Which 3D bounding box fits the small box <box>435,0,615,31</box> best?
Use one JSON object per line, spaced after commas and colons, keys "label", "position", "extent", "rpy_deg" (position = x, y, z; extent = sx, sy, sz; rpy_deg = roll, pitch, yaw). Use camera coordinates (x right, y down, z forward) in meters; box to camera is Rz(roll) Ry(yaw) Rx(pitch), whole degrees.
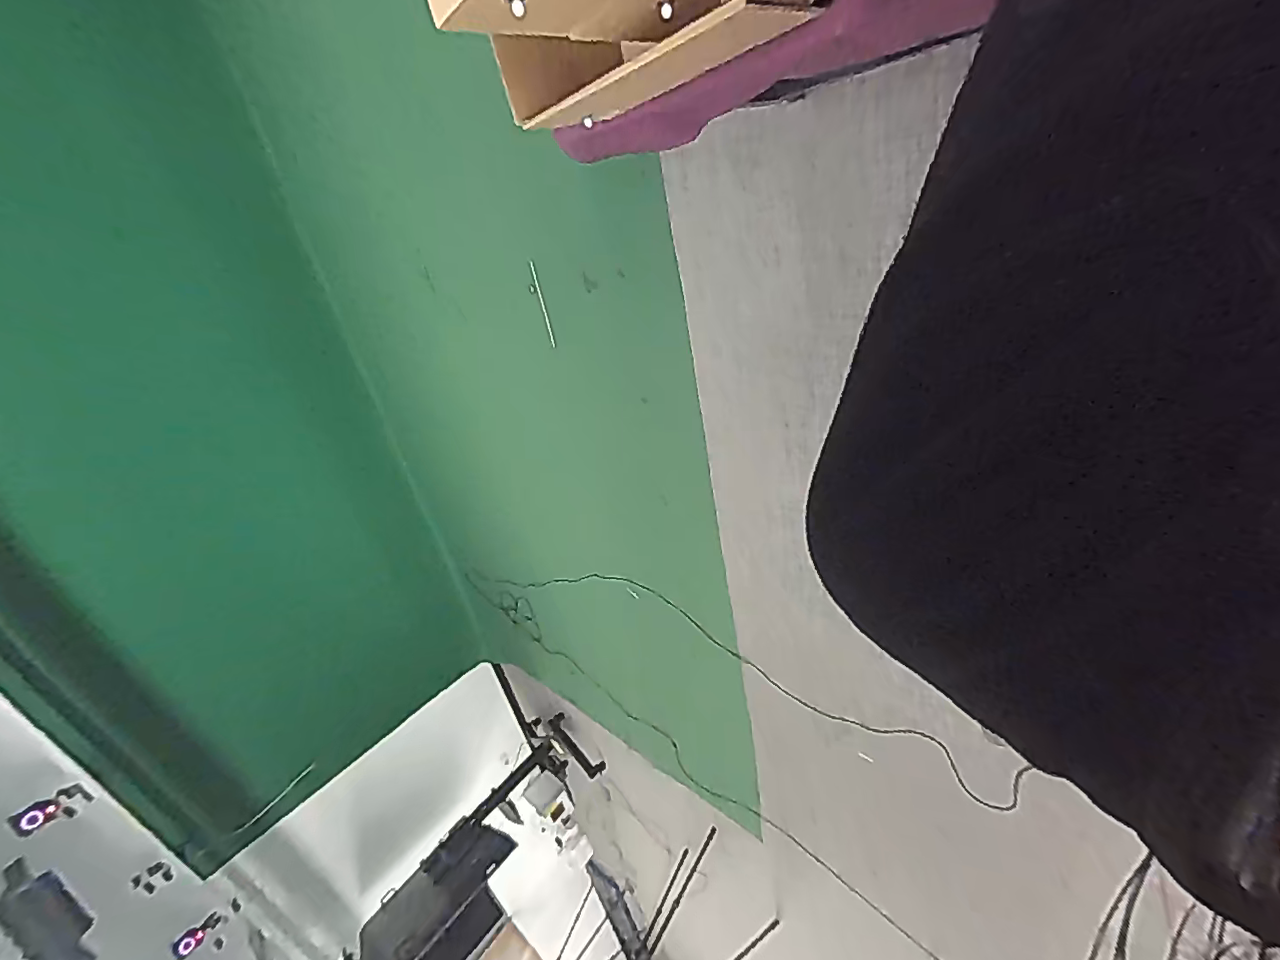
{"label": "small box", "position": [-0.093, -0.533, 0.481], "extent": [0.179, 0.176, 0.168], "rpy_deg": [11, 126, 43]}
